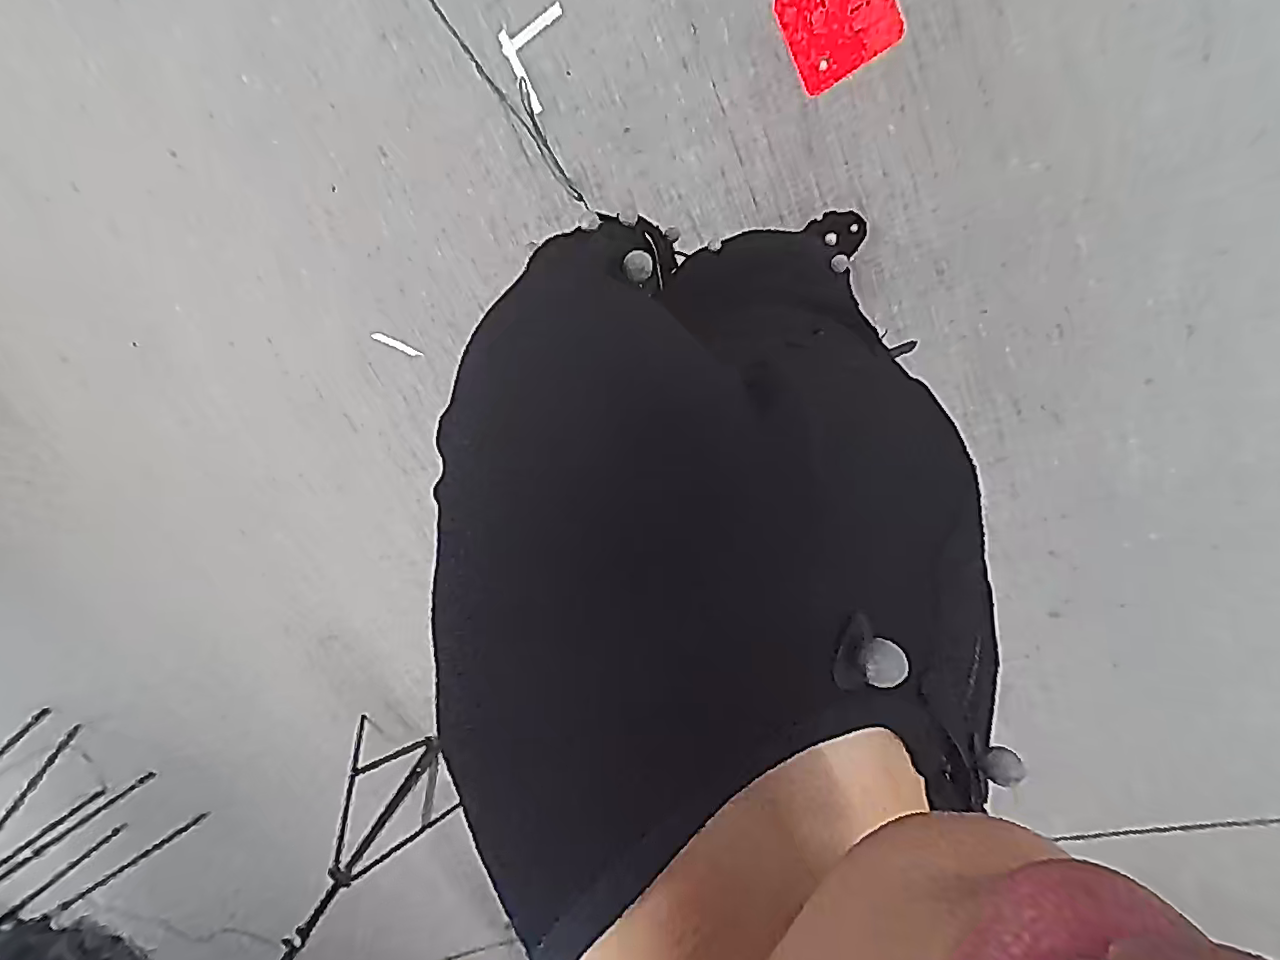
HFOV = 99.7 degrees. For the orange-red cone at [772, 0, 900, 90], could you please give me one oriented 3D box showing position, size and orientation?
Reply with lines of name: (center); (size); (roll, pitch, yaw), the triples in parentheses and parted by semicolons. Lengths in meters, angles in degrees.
orange-red cone: (0.342, -0.839, 0.900); (0.199, 0.360, 0.198); (-23, 107, 22)
